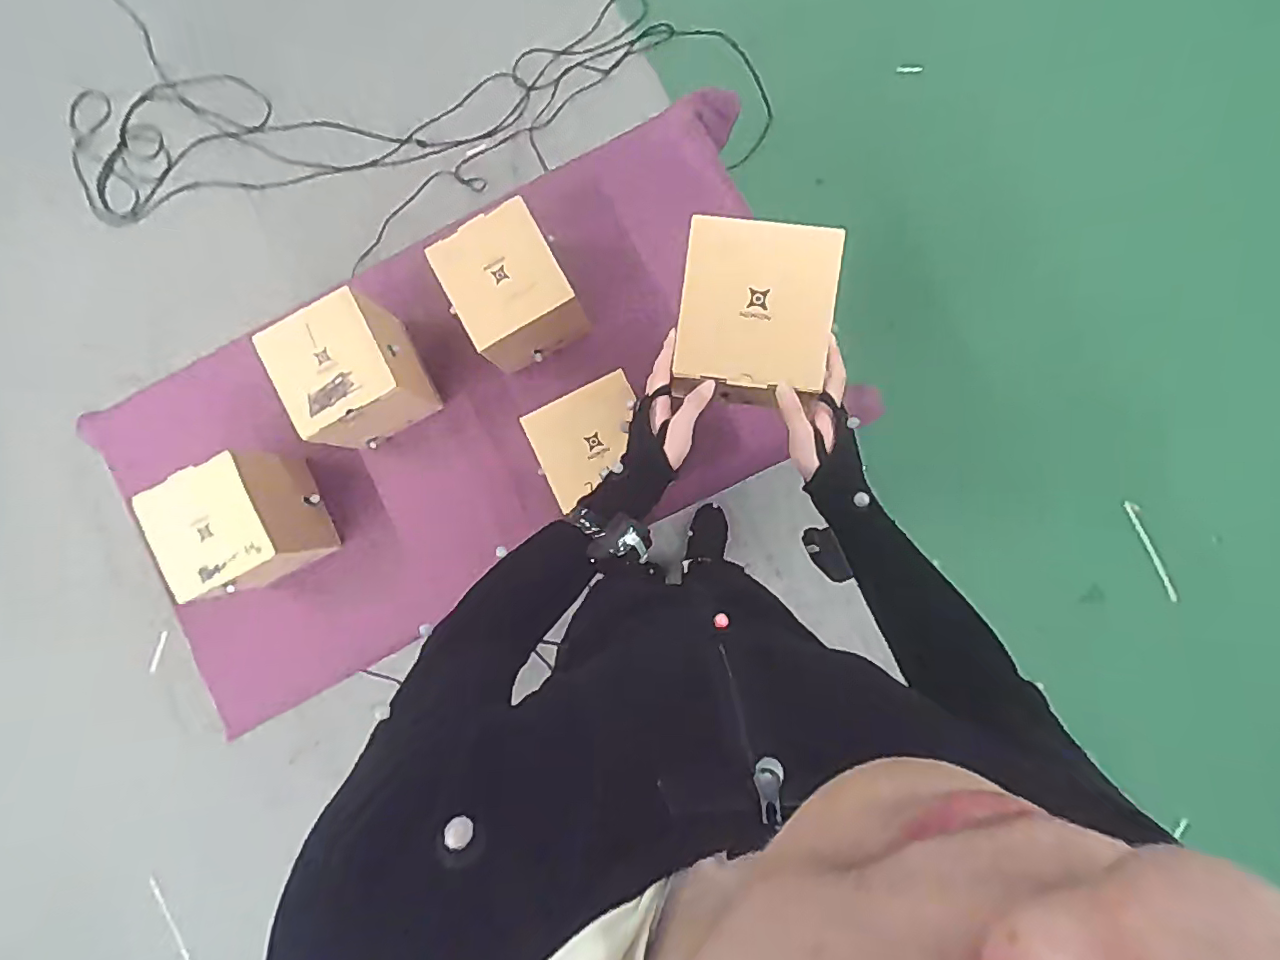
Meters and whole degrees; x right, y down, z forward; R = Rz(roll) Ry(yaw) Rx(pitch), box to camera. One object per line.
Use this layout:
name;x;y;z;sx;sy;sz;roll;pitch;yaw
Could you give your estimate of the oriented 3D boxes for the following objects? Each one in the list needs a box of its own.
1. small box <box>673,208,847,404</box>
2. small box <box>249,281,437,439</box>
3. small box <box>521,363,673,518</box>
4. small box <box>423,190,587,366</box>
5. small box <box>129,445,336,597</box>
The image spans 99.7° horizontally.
small box;0.131;-0.196;0.655;0.168;0.176;0.179;8;93;3
small box;-0.456;-0.175;0.861;0.168;0.176;0.179;-28;86;1
small box;-0.060;-0.050;0.838;0.168;0.176;0.179;-25;86;1
small box;-0.202;-0.305;0.856;0.168;0.176;0.179;-29;89;2
small box;-0.631;0.063;0.859;0.168;0.176;0.179;-26;87;3
